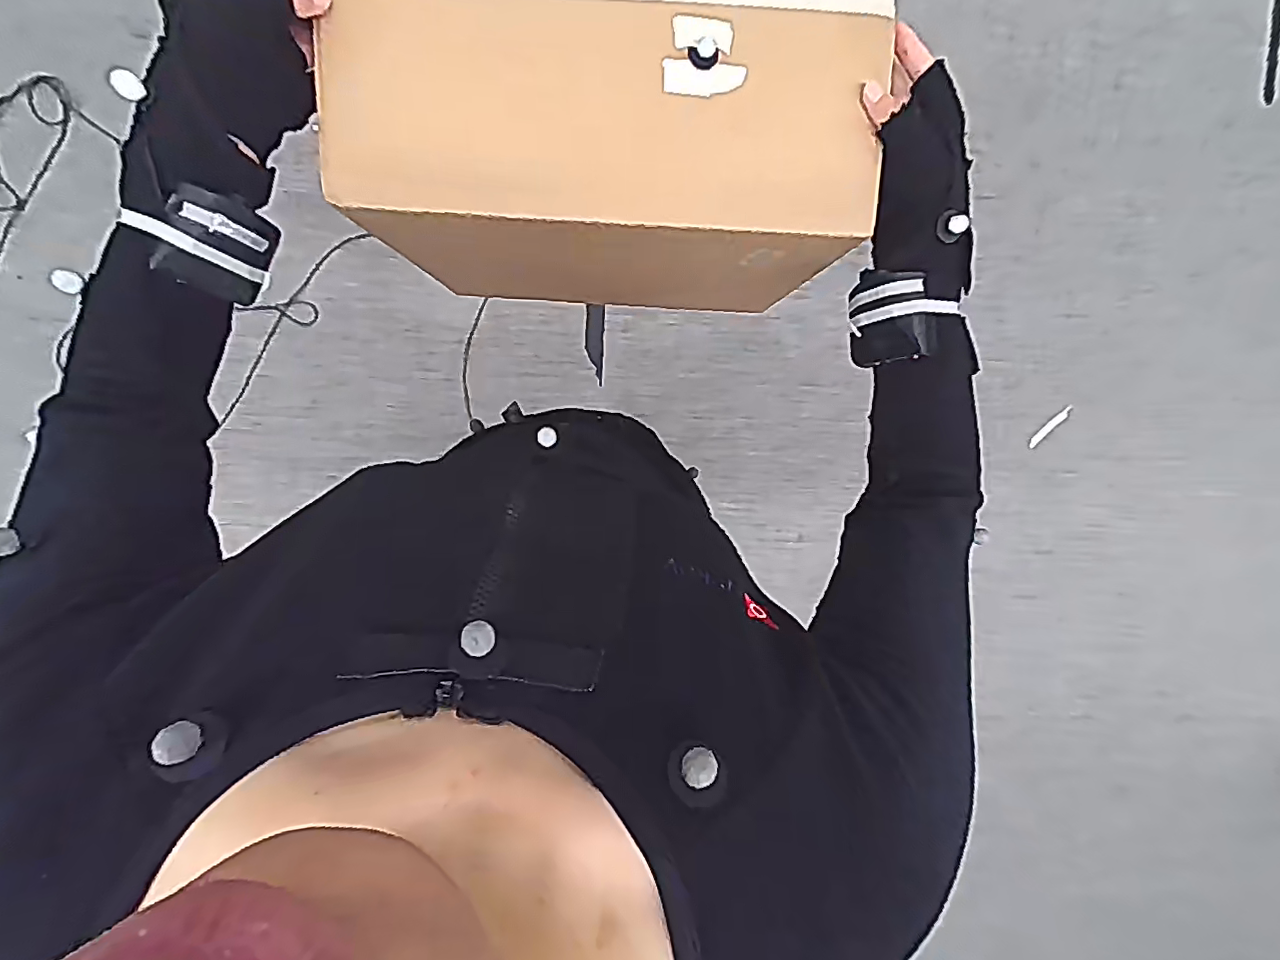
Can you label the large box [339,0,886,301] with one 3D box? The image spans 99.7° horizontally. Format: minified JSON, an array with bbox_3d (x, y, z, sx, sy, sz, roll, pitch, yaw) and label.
[{"bbox_3d":[-0.024,-0.372,0.539,0.408,0.320,0.320,2,98,-3],"label":"large box"}]
